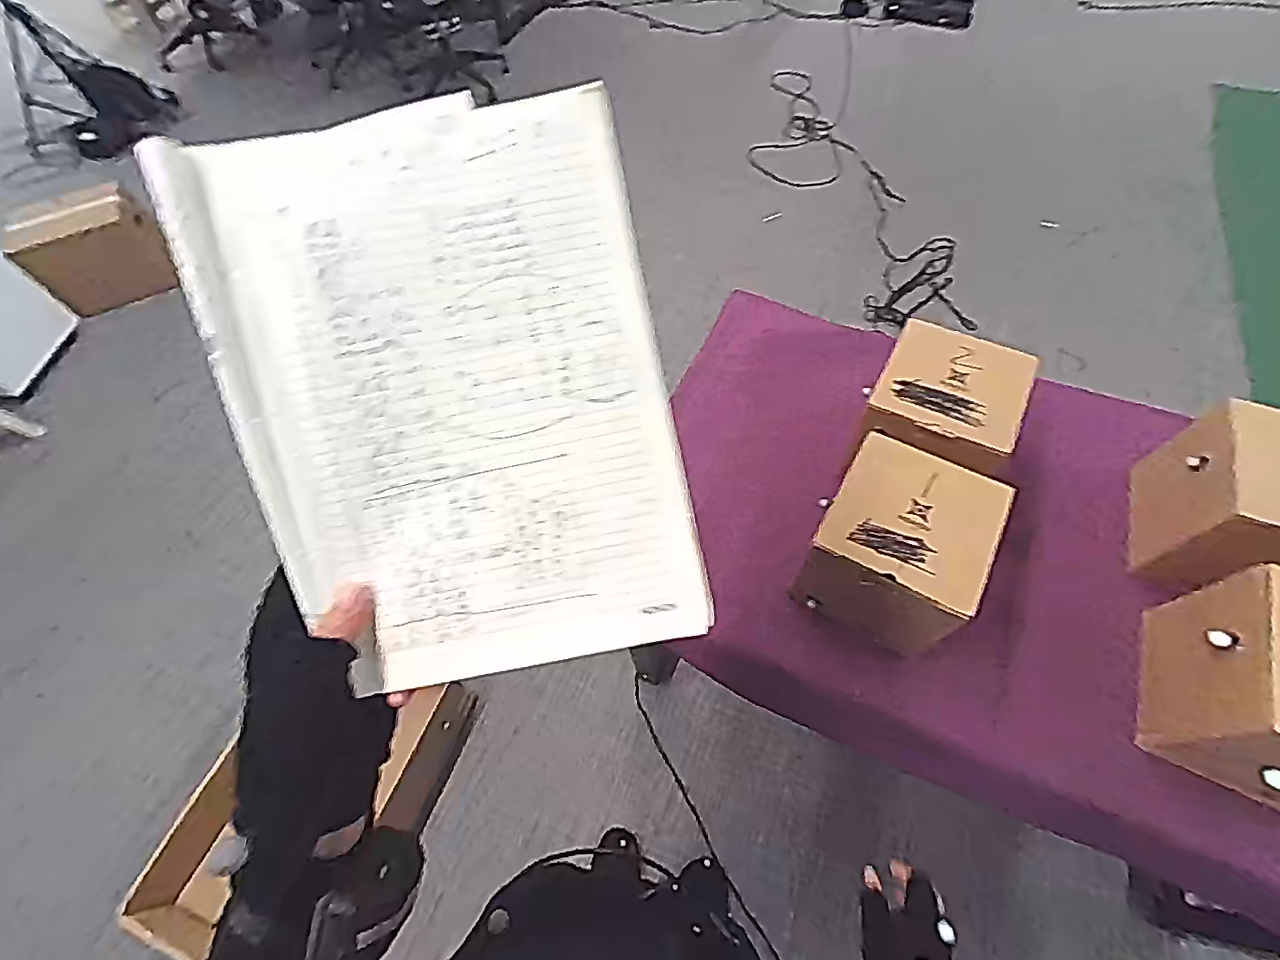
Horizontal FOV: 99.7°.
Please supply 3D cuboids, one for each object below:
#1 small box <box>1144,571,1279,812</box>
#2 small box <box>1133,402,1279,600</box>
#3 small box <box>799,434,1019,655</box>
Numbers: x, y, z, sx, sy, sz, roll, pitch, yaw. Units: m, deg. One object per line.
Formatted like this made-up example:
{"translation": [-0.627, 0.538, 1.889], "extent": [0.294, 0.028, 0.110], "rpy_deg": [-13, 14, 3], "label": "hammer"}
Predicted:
{"translation": [0.662, 0.227, 0.544], "extent": [0.168, 0.176, 0.179], "rpy_deg": [24, 64, 17], "label": "small box"}
{"translation": [0.742, 0.044, 0.646], "extent": [0.168, 0.176, 0.179], "rpy_deg": [21, 64, 16], "label": "small box"}
{"translation": [0.308, 0.084, 0.653], "extent": [0.168, 0.176, 0.179], "rpy_deg": [28, 64, 19], "label": "small box"}
